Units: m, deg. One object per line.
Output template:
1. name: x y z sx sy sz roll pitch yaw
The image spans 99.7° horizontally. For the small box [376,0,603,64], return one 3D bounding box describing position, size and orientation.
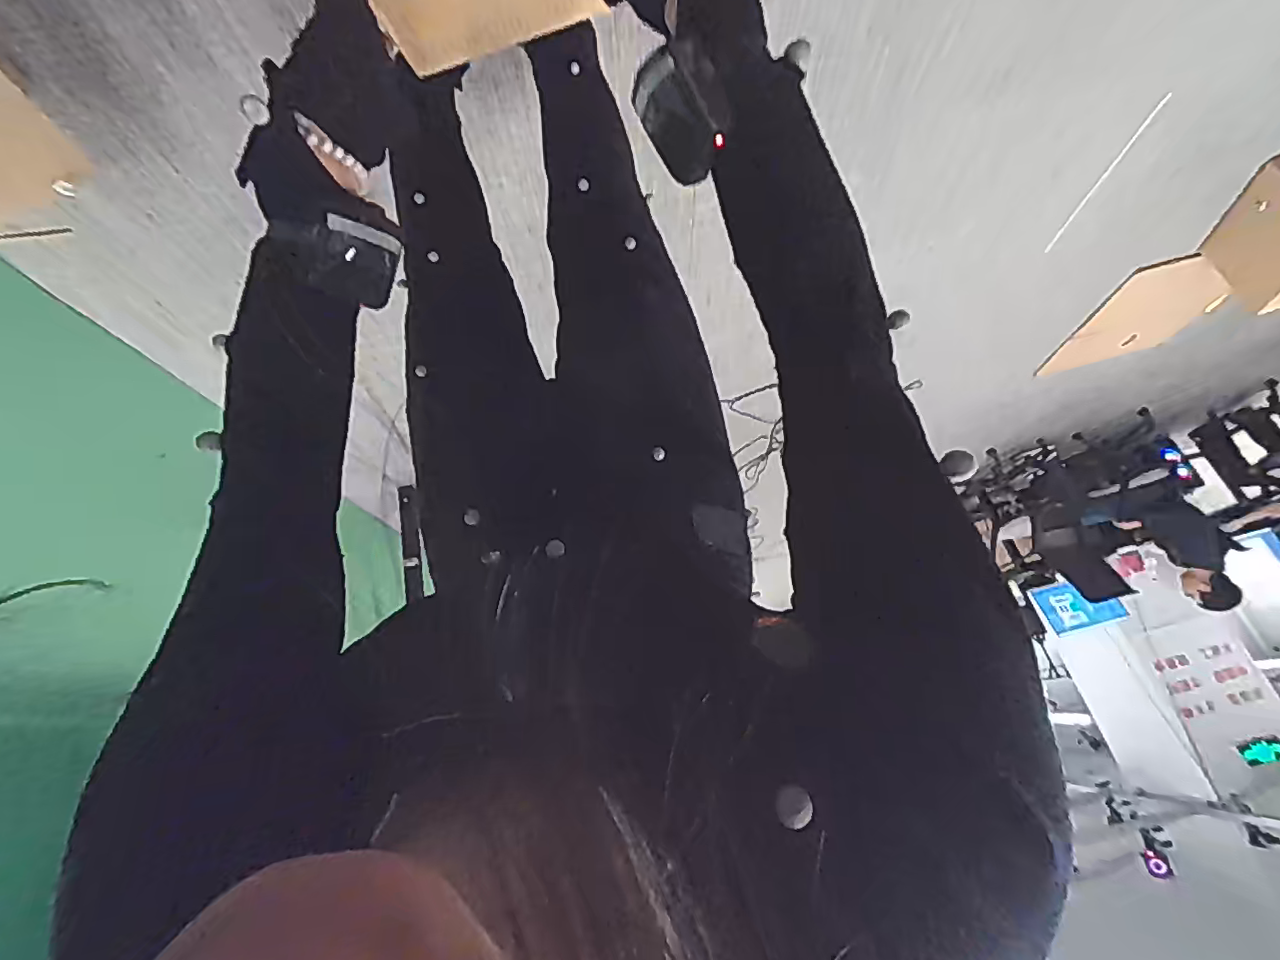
1. small box: -0.126 -0.431 0.365 0.179 0.168 0.176 -15 -169 4
